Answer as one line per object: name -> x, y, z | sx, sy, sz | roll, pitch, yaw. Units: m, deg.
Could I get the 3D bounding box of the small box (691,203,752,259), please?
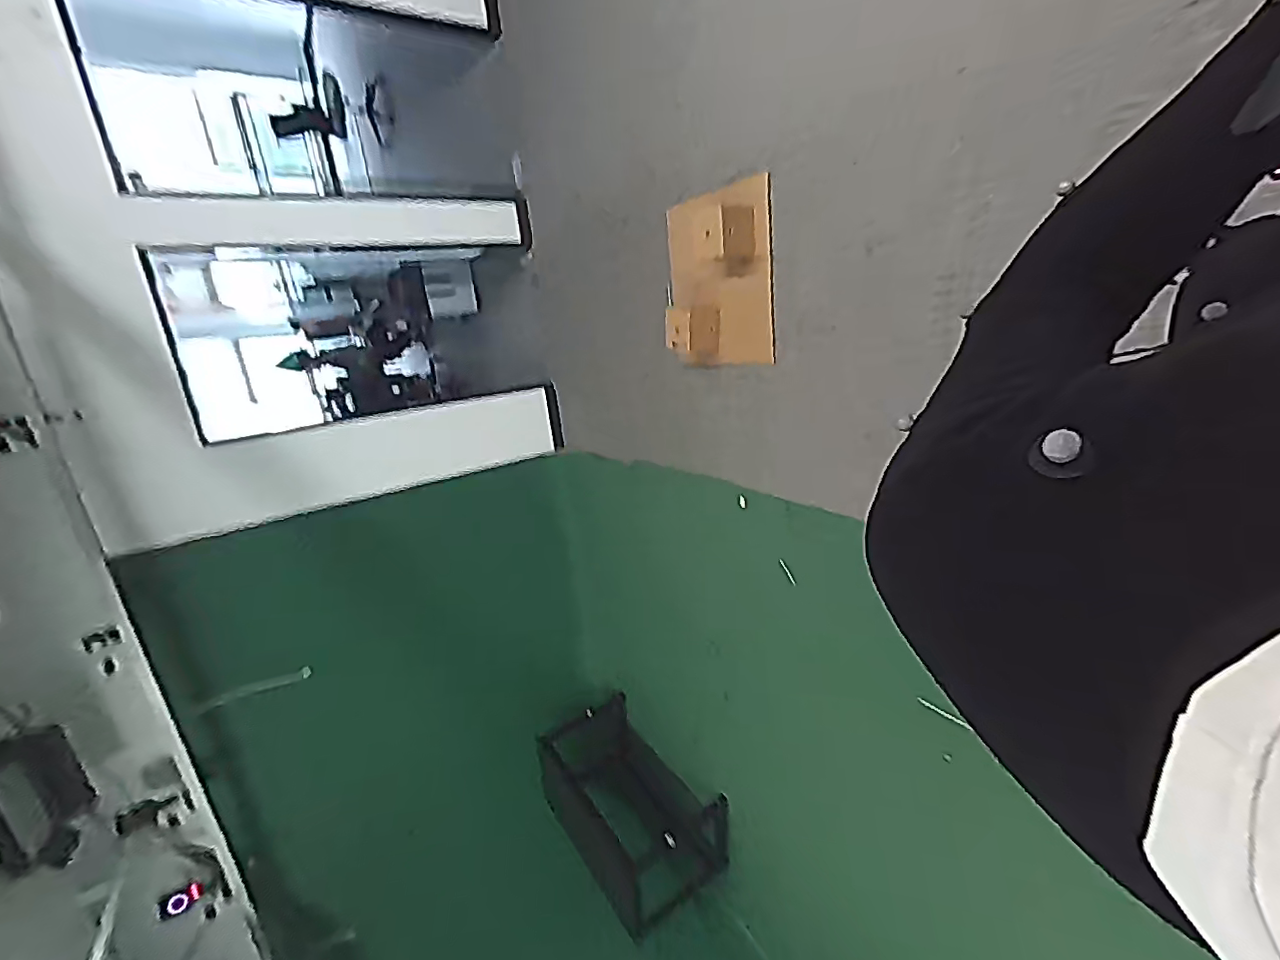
small box -> 0.315, -0.956, 2.075 | 0.168, 0.176, 0.179 | 19, 120, 52

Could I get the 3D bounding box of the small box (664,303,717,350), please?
small box -> 0.221, -0.673, 2.348 | 0.168, 0.176, 0.179 | 29, 127, 49
